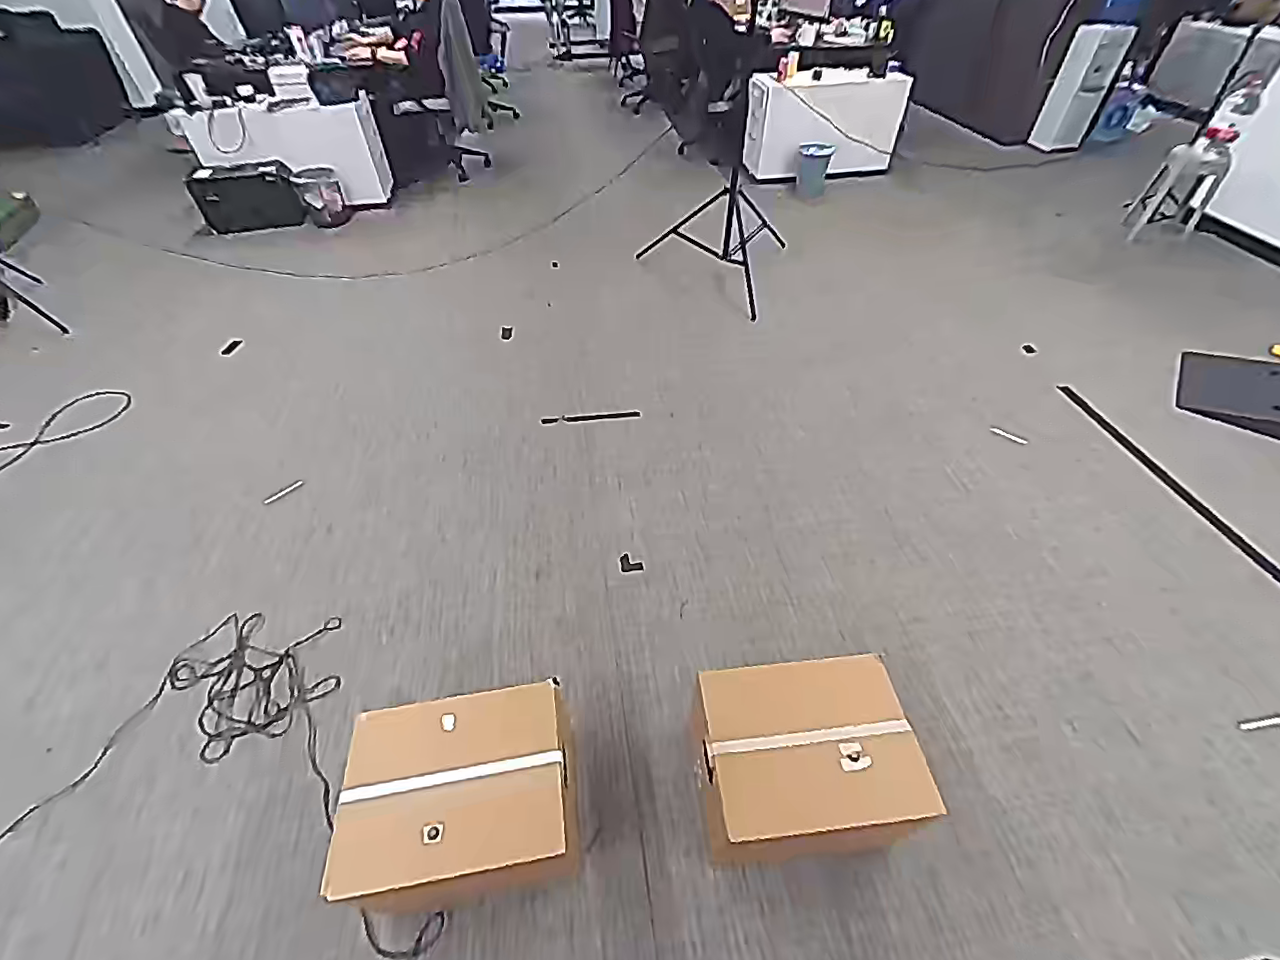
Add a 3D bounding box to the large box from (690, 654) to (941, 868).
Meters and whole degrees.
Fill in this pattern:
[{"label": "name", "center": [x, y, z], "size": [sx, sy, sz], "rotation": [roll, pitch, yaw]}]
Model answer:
[{"label": "large box", "center": [0.341, 0.614, 1.183], "size": [0.408, 0.320, 0.320], "rotation": [-4, 47, -4]}]
